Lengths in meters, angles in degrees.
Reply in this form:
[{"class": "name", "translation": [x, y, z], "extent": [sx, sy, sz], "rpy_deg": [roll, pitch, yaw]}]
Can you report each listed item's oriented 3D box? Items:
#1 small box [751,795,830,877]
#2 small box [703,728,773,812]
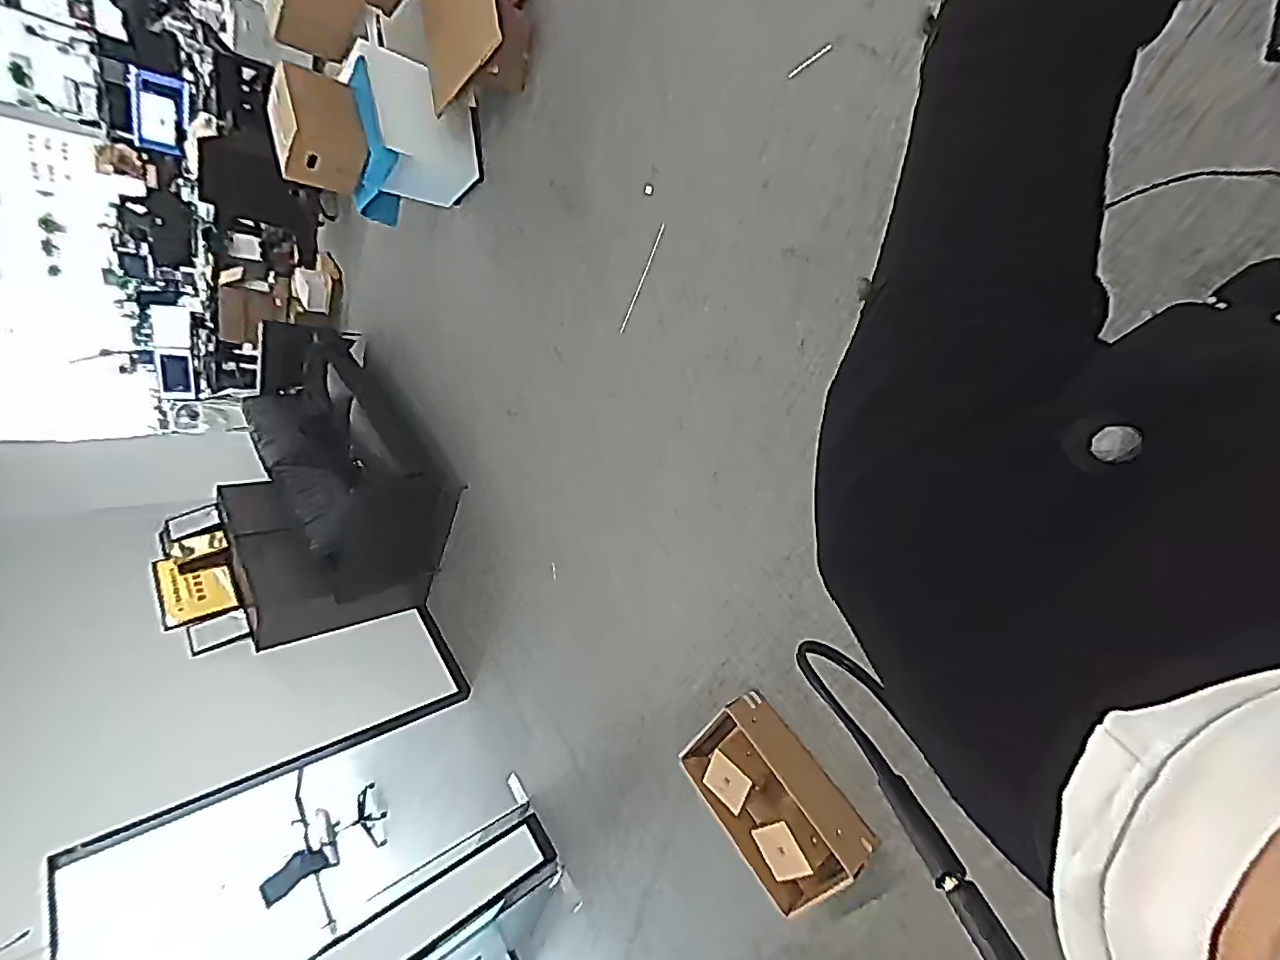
[{"class": "small box", "translation": [0.523, 1.214, 1.851], "extent": [0.179, 0.176, 0.168], "rpy_deg": [-51, 61, 38]}, {"class": "small box", "translation": [0.363, 1.056, 1.986], "extent": [0.168, 0.176, 0.179], "rpy_deg": [33, 118, 37]}]
